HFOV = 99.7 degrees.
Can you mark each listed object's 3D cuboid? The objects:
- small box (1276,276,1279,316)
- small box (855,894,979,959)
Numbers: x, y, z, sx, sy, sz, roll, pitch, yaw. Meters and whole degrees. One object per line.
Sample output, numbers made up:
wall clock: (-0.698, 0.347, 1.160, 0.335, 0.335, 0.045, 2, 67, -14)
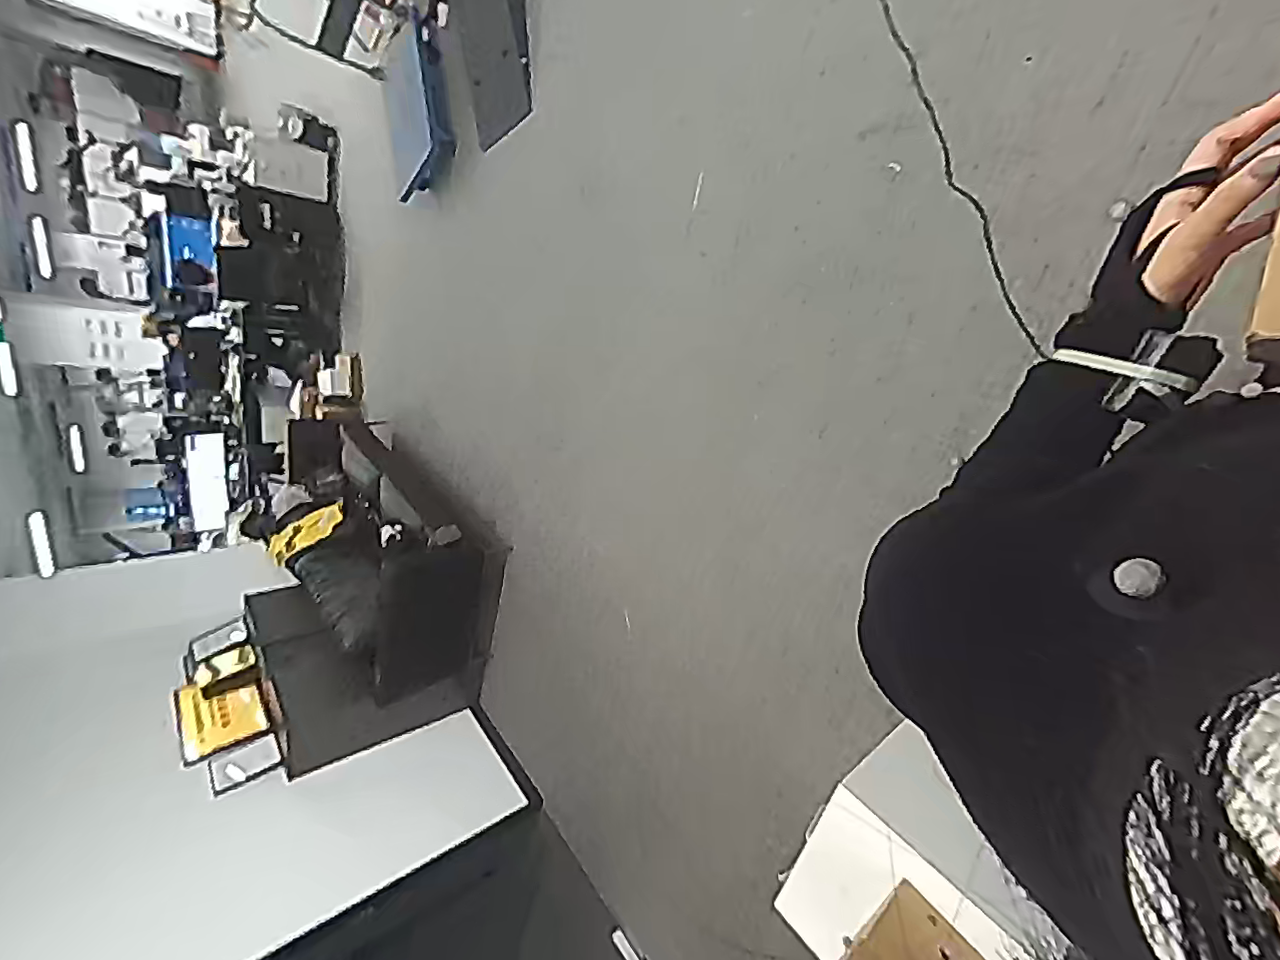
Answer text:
small box: (0.432, -0.161, 0.245, 0.168, 0.176, 0.179, 14, 104, 48)
small box: (0.439, 0.832, 0.869, 0.168, 0.176, 0.179, 38, 122, 38)
